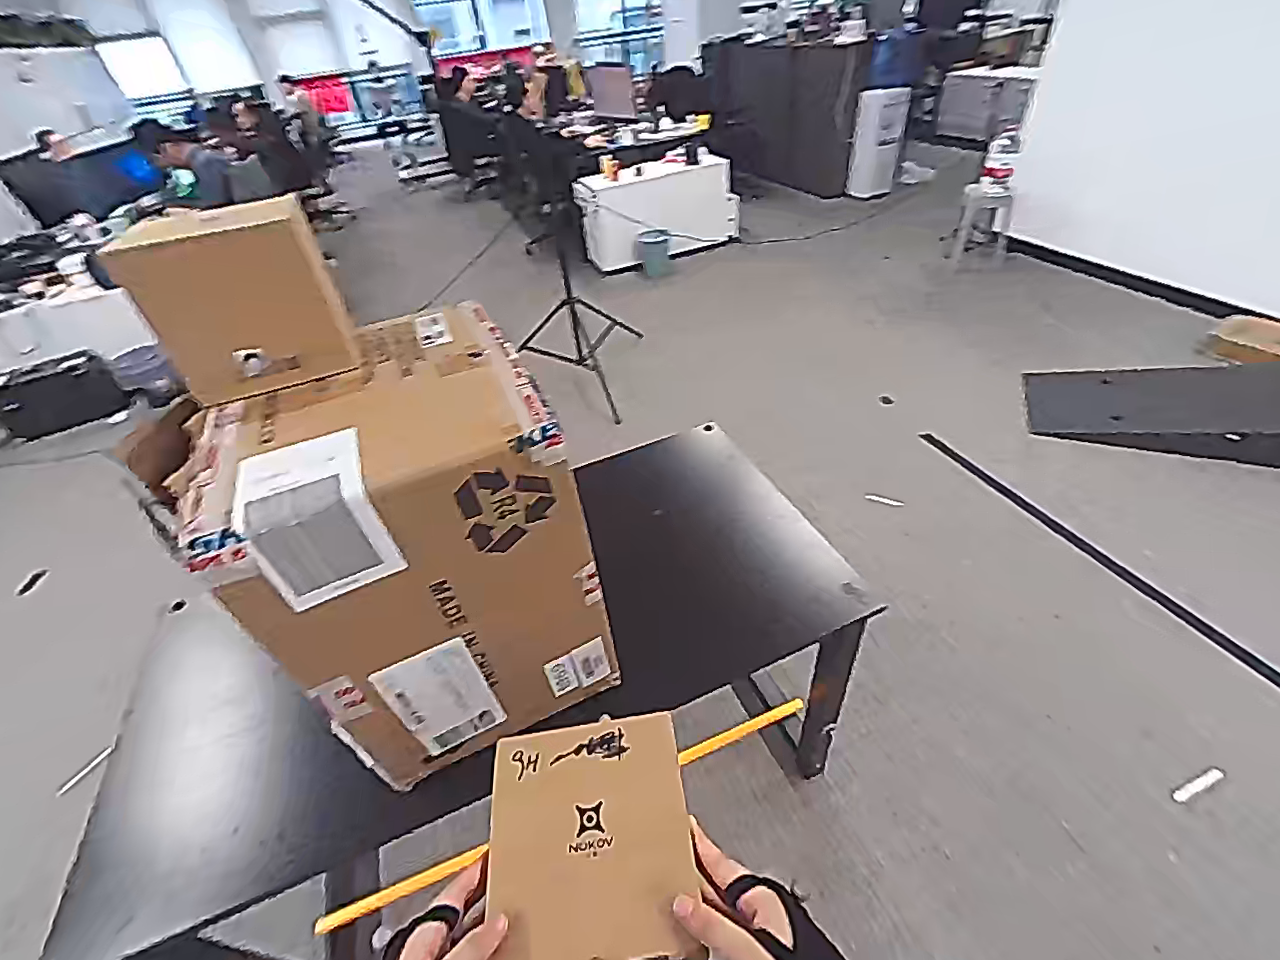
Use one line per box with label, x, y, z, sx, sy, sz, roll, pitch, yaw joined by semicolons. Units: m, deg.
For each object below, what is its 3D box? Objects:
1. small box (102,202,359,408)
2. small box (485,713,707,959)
small box;-0.450;-0.207;0.628;0.168;0.176;0.179;-23;41;-18
small box;-0.033;0.345;0.500;0.168;0.176;0.179;-9;45;-2
